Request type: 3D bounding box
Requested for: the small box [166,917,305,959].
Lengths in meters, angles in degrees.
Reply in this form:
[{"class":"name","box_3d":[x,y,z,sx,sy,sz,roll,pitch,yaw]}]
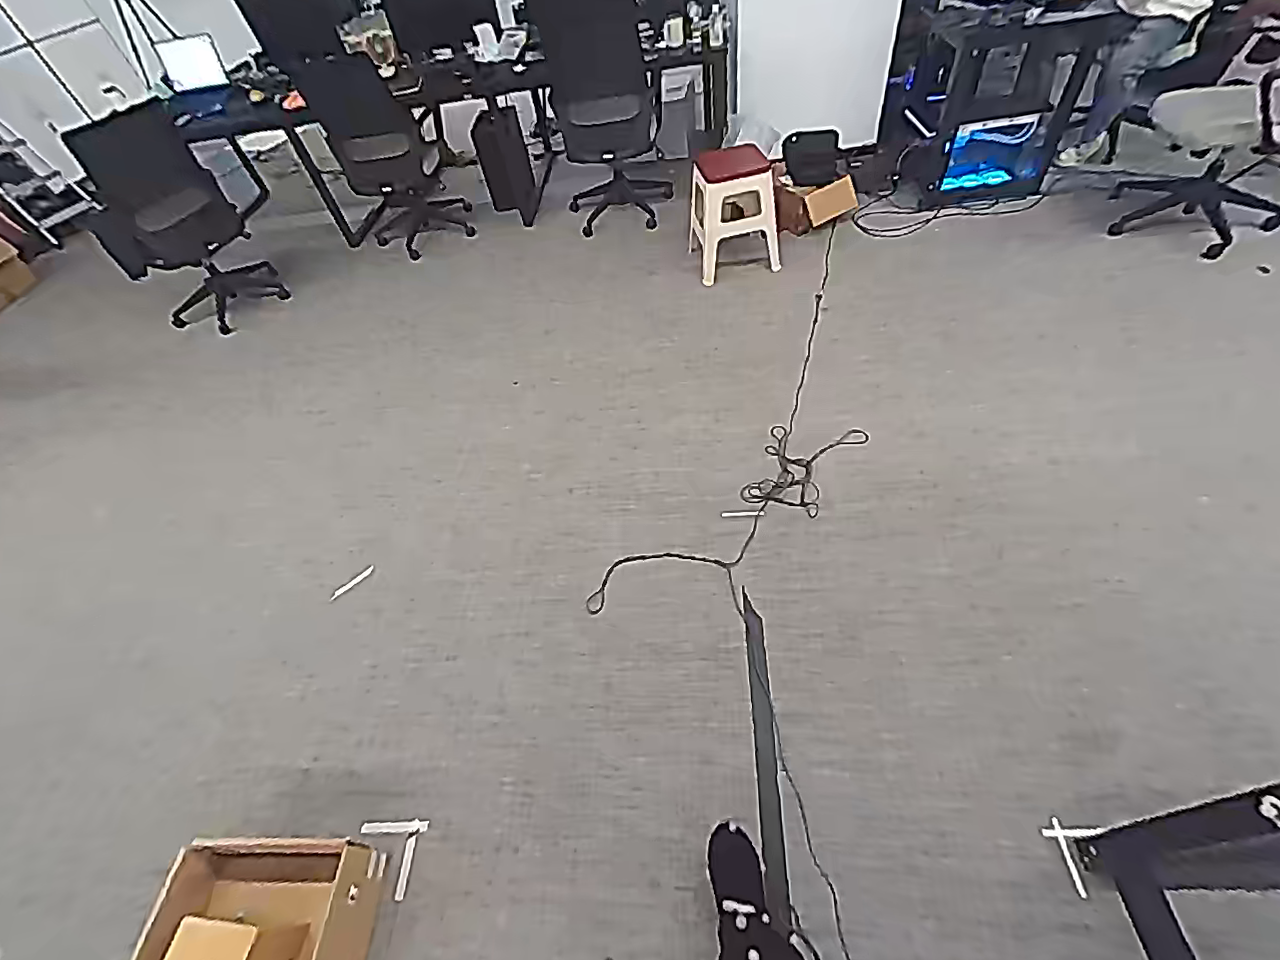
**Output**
[{"class":"small box","box_3d":[-0.832,0.999,1.088,0.179,0.176,0.168,0,51,9]}]
